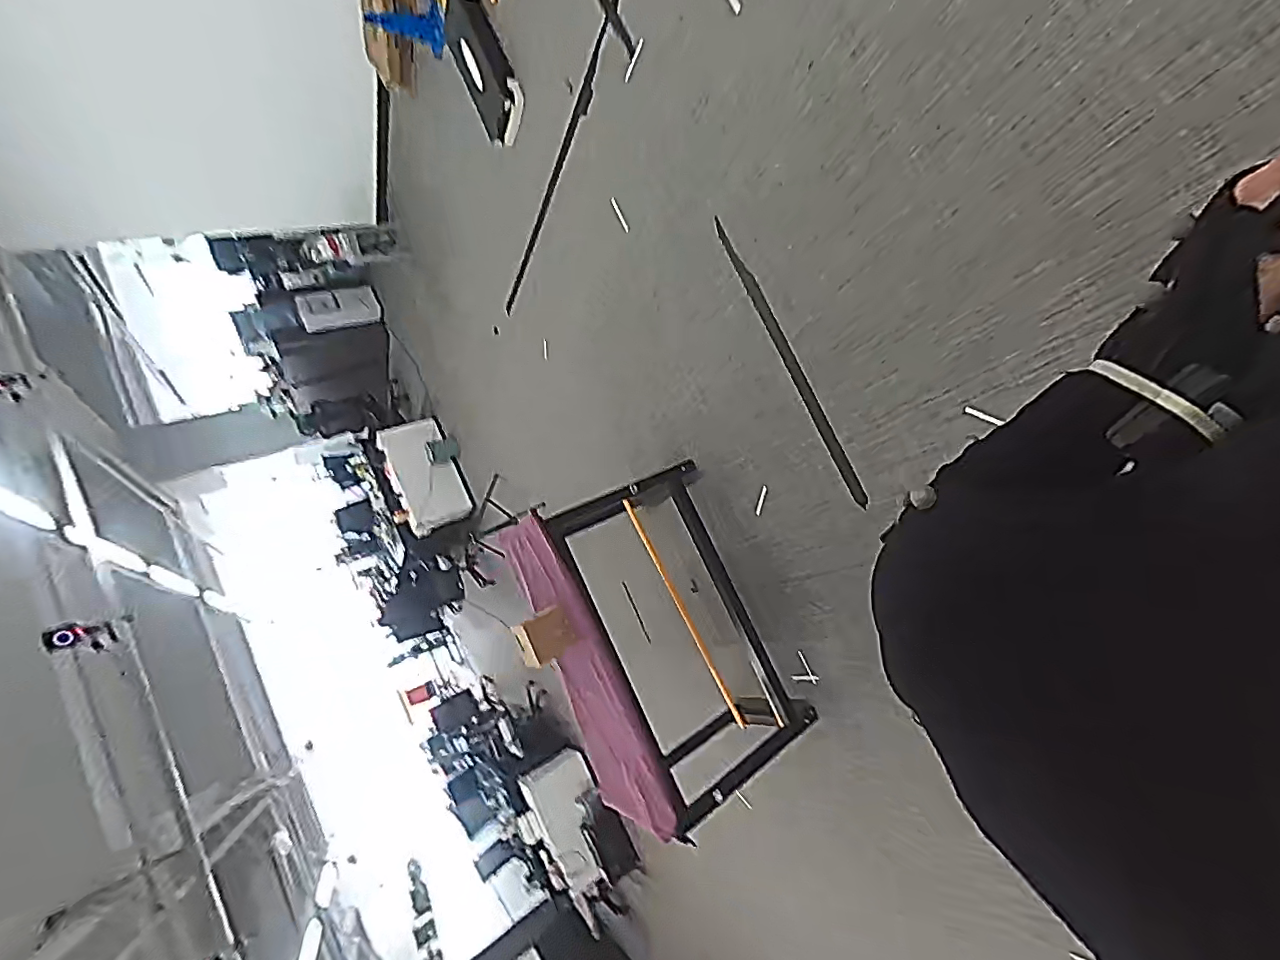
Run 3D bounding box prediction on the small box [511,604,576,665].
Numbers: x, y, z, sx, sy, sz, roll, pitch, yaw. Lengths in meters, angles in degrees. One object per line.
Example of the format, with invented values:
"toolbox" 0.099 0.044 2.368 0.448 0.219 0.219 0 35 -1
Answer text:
"small box" -0.361 0.578 2.033 0.179 0.176 0.168 -32 81 59
